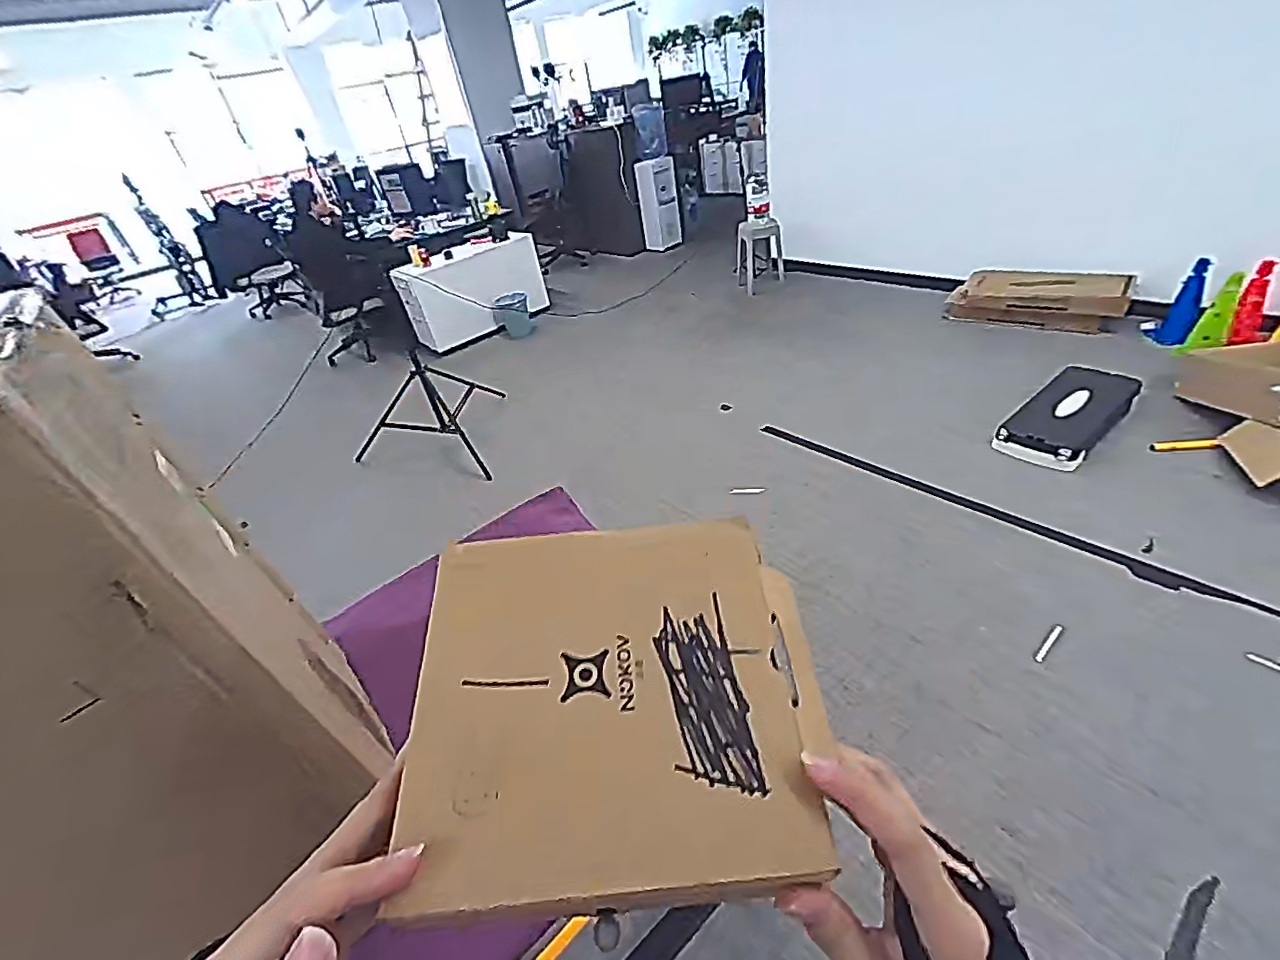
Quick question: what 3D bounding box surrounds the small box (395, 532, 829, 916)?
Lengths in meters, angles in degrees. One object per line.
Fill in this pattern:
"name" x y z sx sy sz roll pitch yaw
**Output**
"small box" -0.013 0.150 0.324 0.179 0.176 0.168 -5 50 -1
